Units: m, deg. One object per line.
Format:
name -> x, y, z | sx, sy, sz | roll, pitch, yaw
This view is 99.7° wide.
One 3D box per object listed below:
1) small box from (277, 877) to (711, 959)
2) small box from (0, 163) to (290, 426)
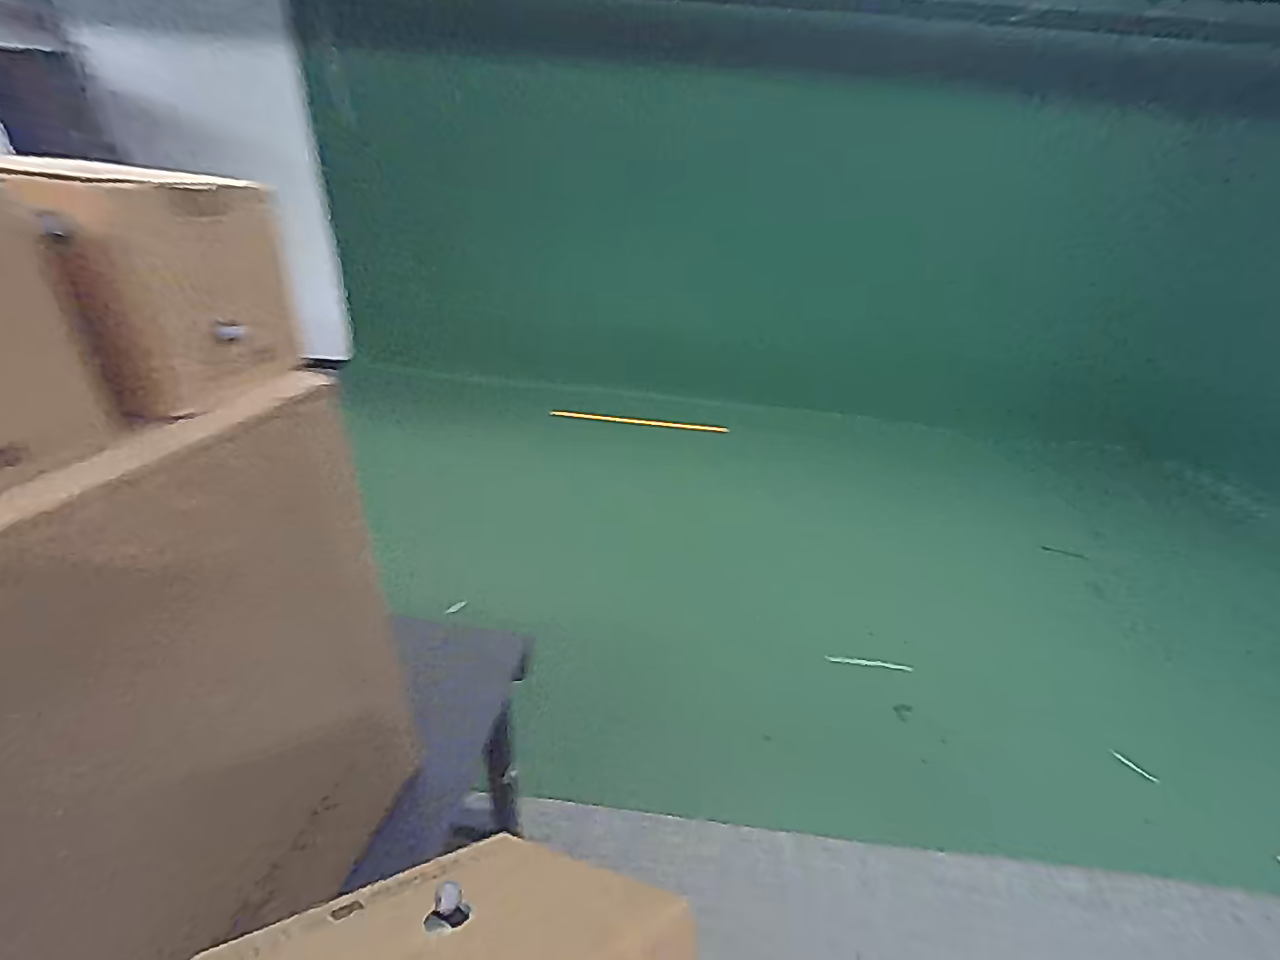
small box -> -0.074, 0.303, 0.232 | 0.168, 0.179, 0.176 | 9, -22, -42
small box -> -0.430, -0.154, 0.443 | 0.179, 0.176, 0.168 | 7, 28, -2
